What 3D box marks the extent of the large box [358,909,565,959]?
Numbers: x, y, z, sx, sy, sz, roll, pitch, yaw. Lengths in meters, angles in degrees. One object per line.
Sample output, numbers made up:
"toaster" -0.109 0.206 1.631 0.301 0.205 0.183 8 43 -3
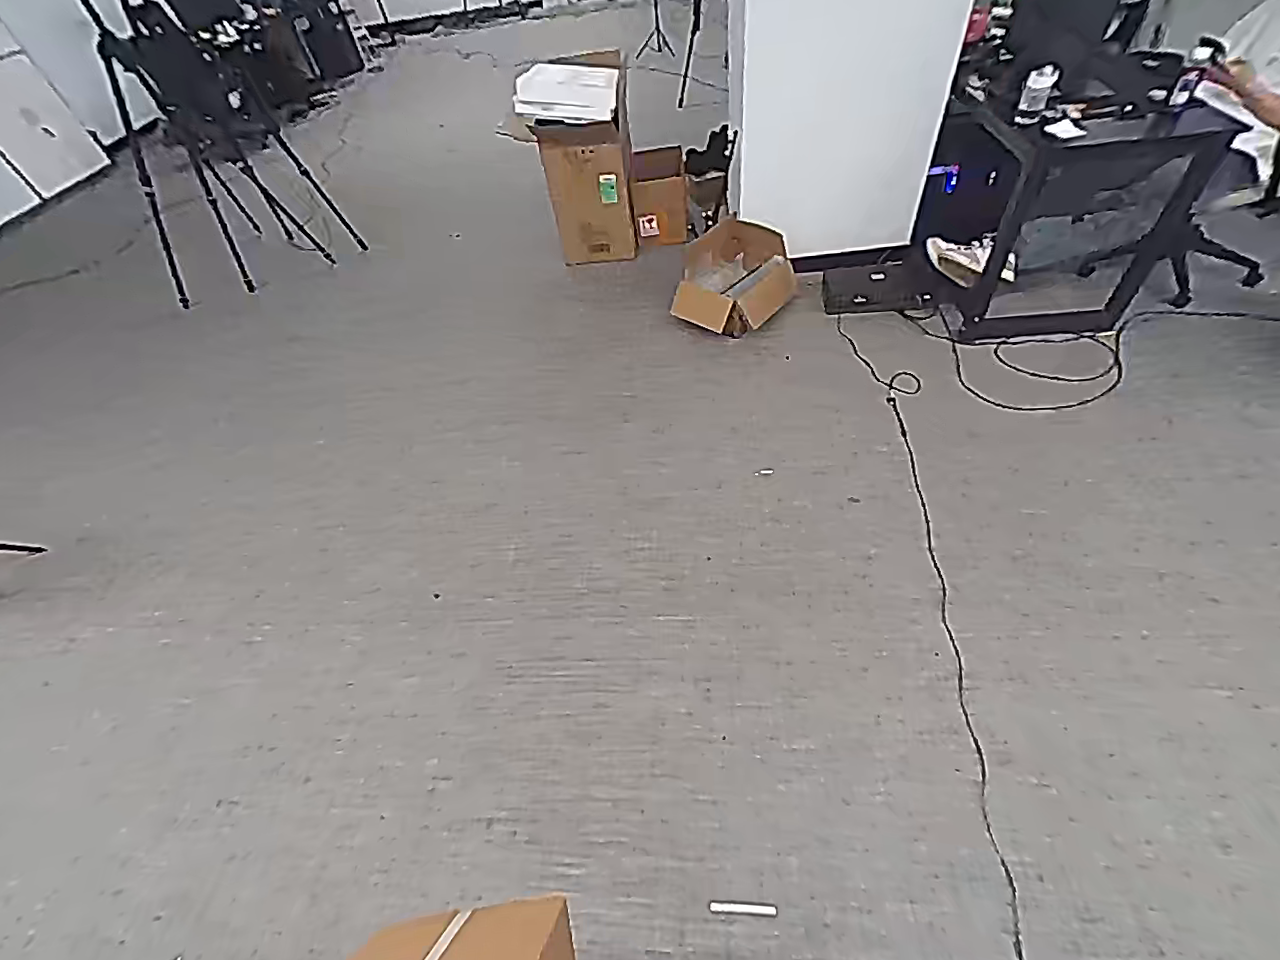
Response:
"large box" -0.257 0.802 0.622 0.320 0.408 0.320 -13 78 3
